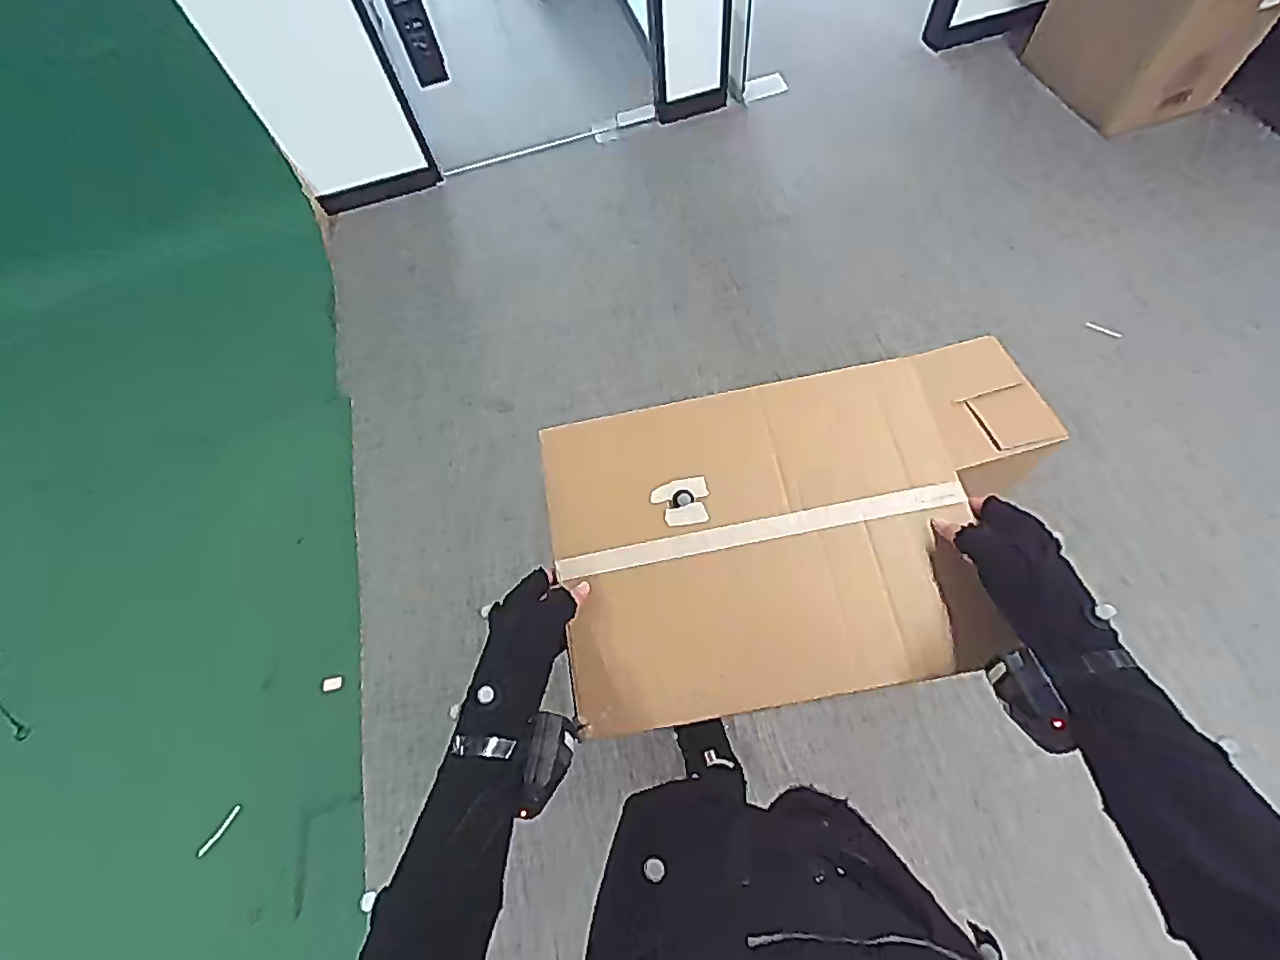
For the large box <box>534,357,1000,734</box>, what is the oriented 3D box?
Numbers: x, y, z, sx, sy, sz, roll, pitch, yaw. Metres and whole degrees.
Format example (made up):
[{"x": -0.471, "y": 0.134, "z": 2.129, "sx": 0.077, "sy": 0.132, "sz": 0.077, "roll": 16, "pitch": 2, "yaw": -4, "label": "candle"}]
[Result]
[{"x": 0.120, "y": 0.094, "z": 0.676, "sx": 0.408, "sy": 0.320, "sz": 0.320, "roll": -11, "pitch": 71, "yaw": 3, "label": "large box"}]
